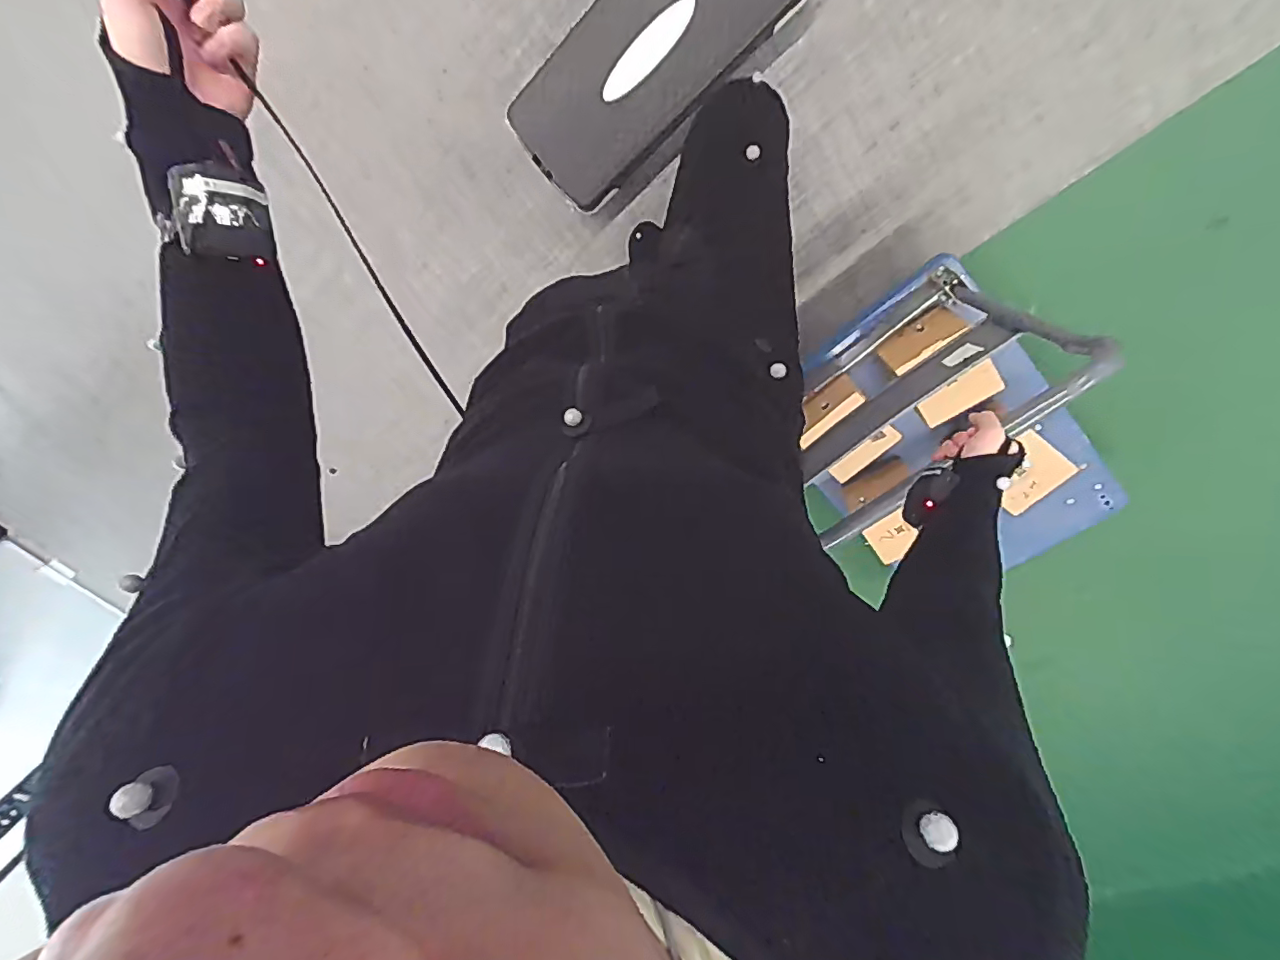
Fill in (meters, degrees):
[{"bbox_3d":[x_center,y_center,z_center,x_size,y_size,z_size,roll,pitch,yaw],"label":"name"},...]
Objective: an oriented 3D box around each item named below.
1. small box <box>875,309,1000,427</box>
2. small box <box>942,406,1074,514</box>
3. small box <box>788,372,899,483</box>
[{"bbox_3d":[0.661,-0.257,1.219,0.168,0.176,0.179,-33,110,23],"label":"small box"},{"bbox_3d":[0.874,-0.057,1.306,0.179,0.176,0.168,34,119,-12],"label":"small box"},{"bbox_3d":[0.481,-0.133,1.310,0.168,0.176,0.179,39,117,-14],"label":"small box"}]
